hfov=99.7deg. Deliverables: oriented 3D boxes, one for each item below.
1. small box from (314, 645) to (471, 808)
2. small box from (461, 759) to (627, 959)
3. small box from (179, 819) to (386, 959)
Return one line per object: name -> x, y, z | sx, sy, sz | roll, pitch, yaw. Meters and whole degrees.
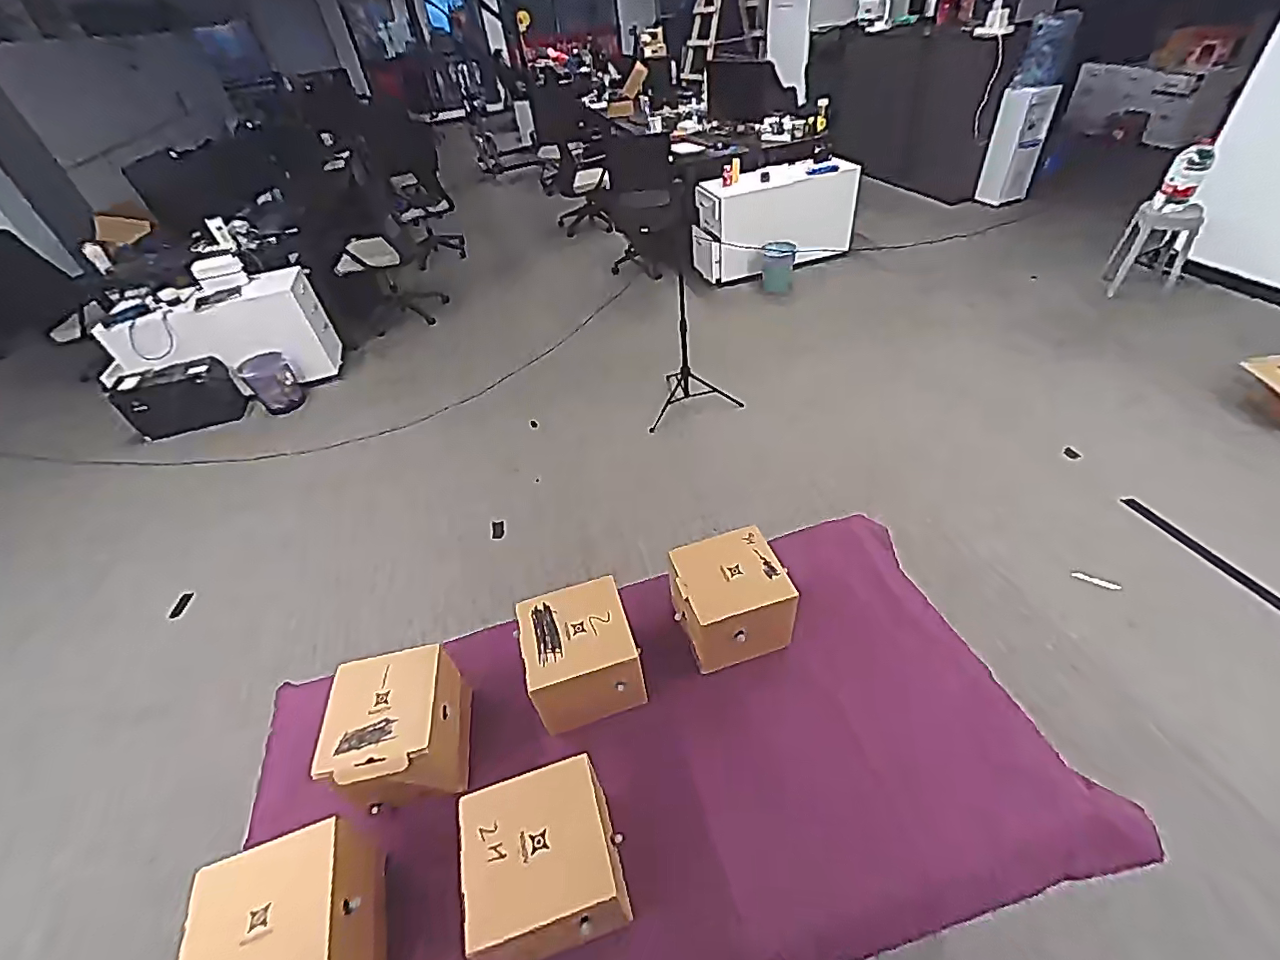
small box -> -0.377, 0.396, 0.861 | 0.168, 0.176, 0.179 | -11, 42, -4
small box -> -0.119, 0.501, 0.706 | 0.179, 0.176, 0.168 | -16, 43, -8
small box -> -0.433, 0.572, 0.675 | 0.168, 0.176, 0.179 | -17, 43, -12
